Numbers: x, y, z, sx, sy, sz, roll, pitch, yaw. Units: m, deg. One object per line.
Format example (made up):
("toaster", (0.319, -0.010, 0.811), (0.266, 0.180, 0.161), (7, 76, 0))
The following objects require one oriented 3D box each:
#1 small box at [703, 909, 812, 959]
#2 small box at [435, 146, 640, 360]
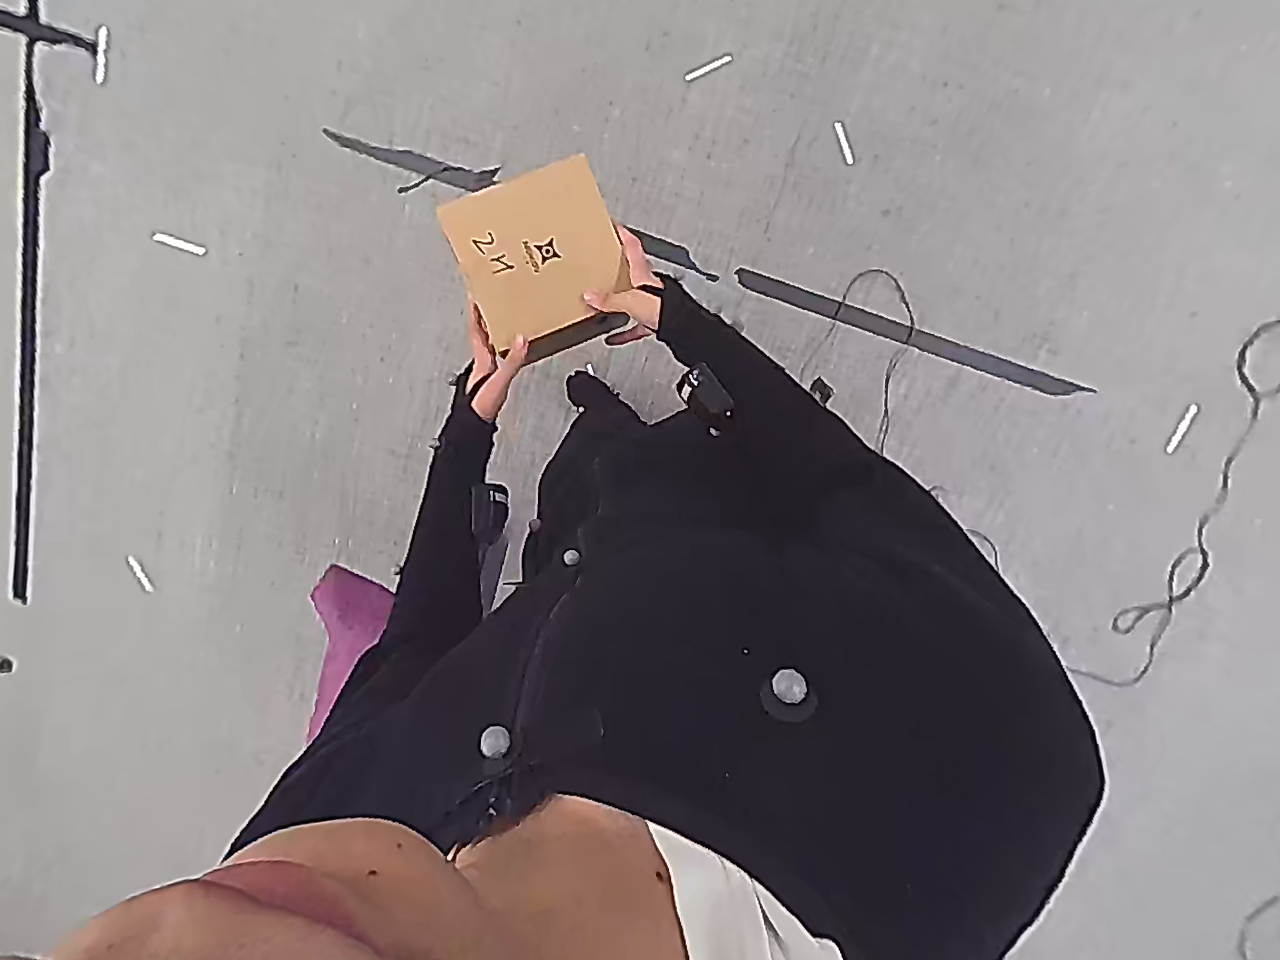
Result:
("small box", (0.221, 0.954, 1.000), (0.168, 0.176, 0.179), (24, 104, -1))
("small box", (-0.117, -0.259, 0.659), (0.179, 0.176, 0.168), (-22, 98, -3))
